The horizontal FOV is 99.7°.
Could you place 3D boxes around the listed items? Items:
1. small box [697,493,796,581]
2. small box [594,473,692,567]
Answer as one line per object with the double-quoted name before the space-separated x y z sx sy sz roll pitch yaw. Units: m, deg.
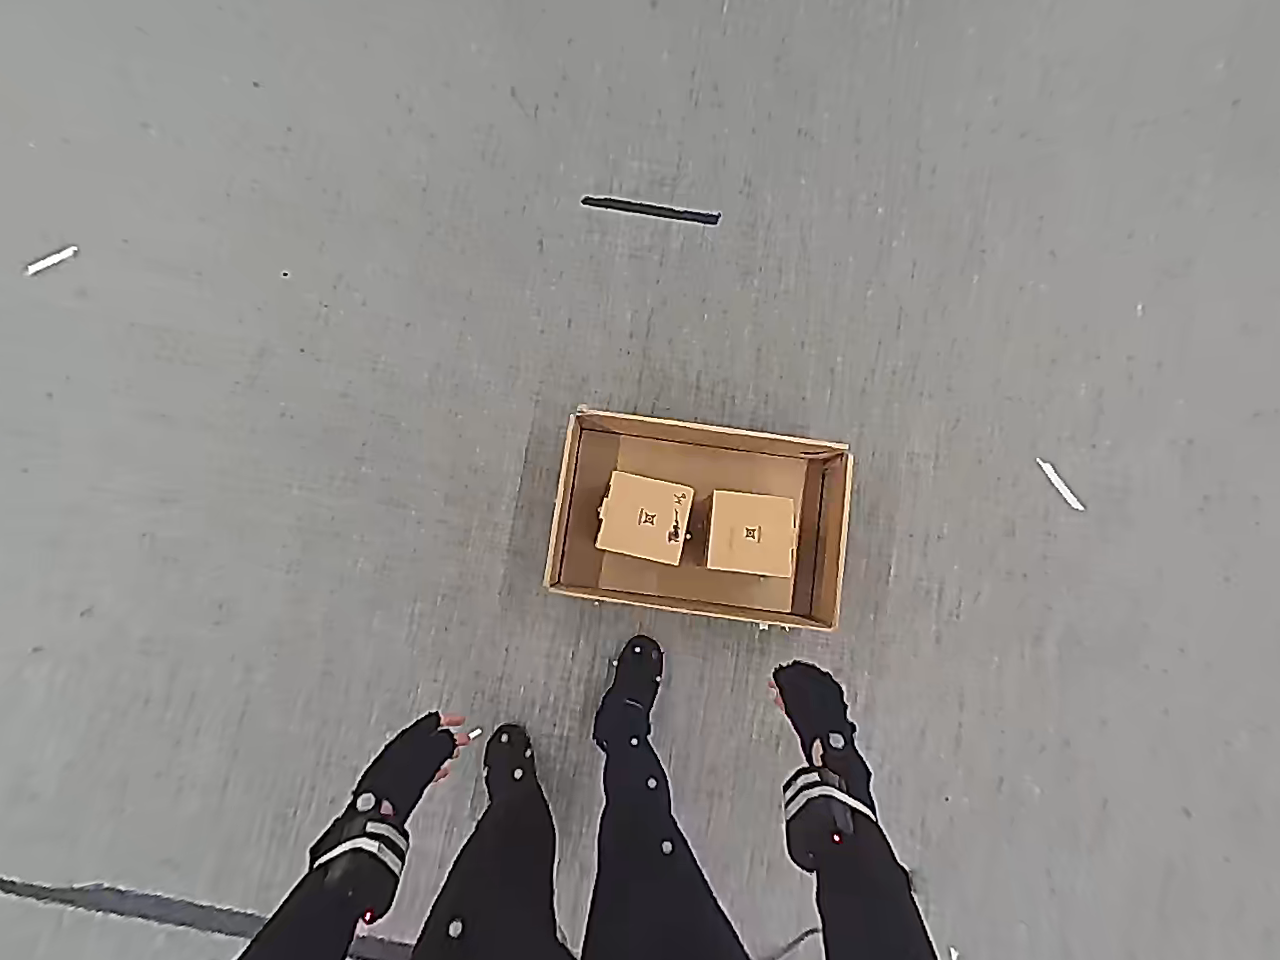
"small box" 0.228 0.126 1.191 0.179 0.176 0.168 7 82 1
"small box" 0.006 0.093 1.189 0.179 0.176 0.168 12 82 0
